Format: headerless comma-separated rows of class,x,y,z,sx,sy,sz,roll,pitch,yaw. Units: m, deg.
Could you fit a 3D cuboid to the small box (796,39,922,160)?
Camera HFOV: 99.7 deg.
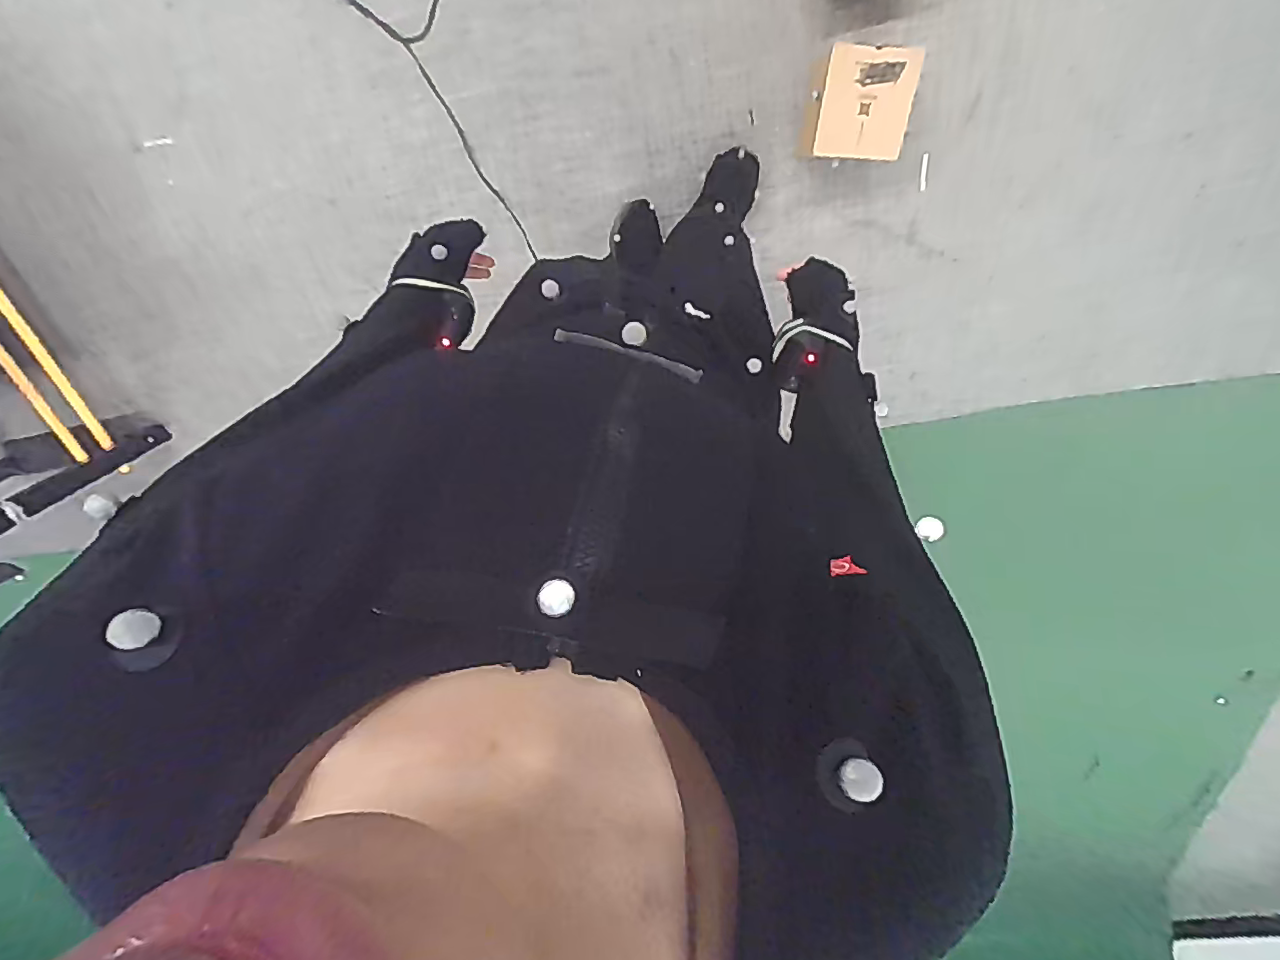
small box,0.416,-0.737,1.063,0.168,0.176,0.179,4,121,1
